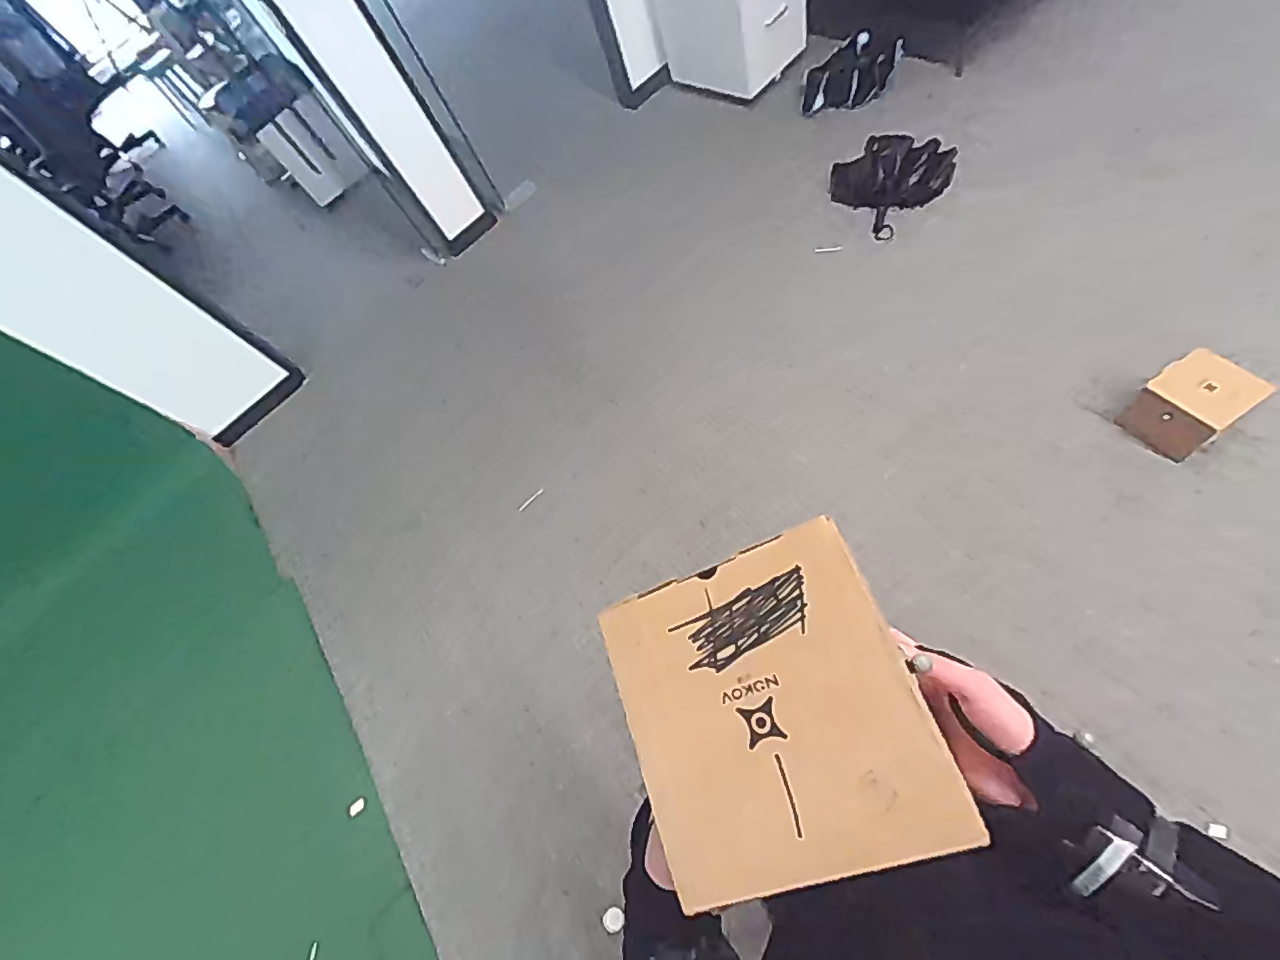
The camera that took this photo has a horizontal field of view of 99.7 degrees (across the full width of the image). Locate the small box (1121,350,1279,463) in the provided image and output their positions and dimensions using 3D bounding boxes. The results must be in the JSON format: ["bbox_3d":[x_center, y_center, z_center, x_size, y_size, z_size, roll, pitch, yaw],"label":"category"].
[{"bbox_3d":[1.345,-0.174,1.319,0.168,0.176,0.179,-36,59,0],"label":"small box"}]

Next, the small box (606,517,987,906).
[{"bbox_3d":[0.103,0.150,0.379,0.168,0.176,0.179,-27,65,18],"label":"small box"}]
